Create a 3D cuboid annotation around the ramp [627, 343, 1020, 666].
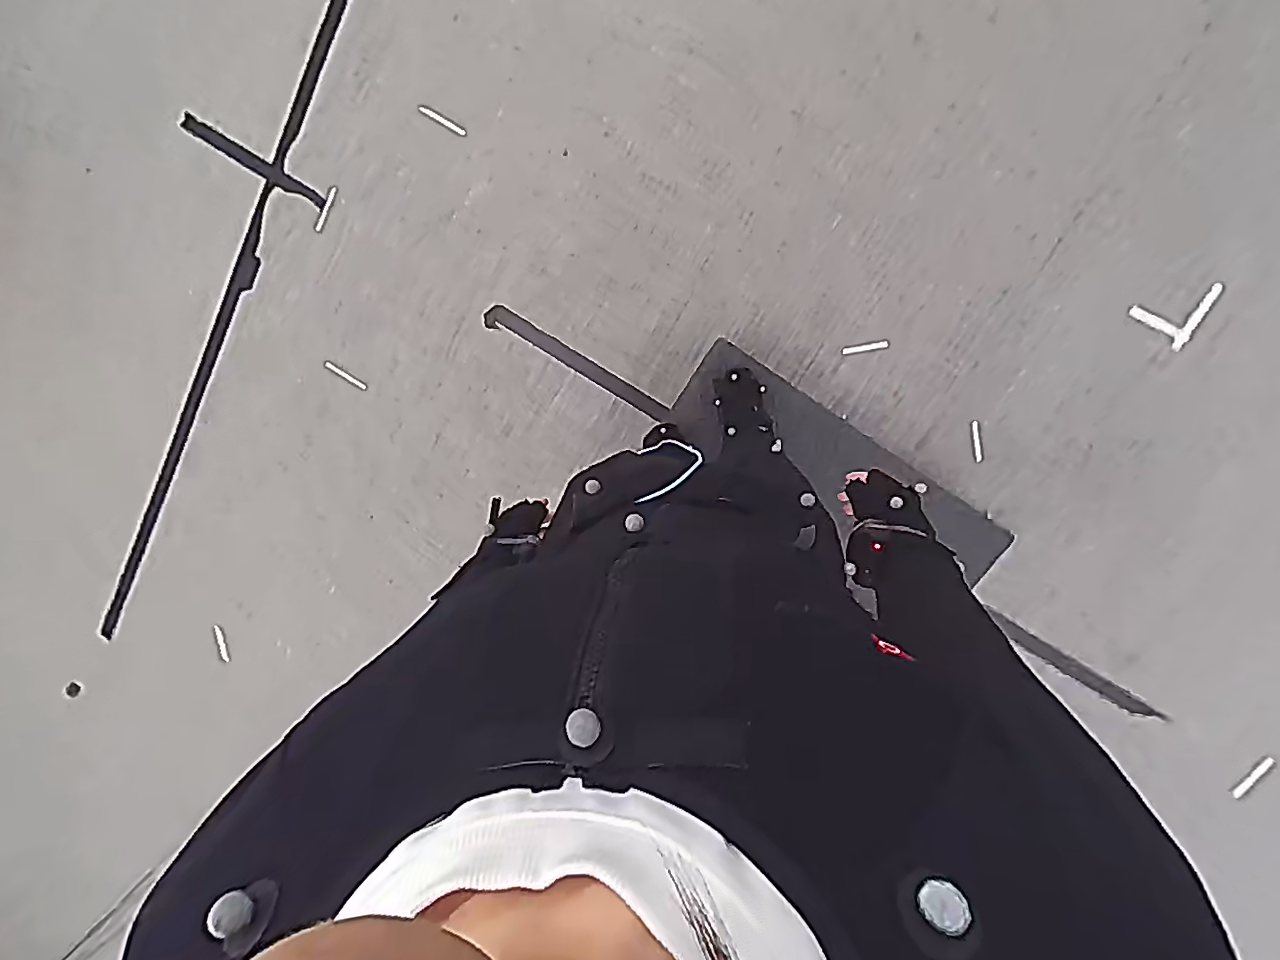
[{"bbox_3d":[0.509,0.096,1.473,0.991,0.206,0.509,31,100,3],"label":"ramp"}]
